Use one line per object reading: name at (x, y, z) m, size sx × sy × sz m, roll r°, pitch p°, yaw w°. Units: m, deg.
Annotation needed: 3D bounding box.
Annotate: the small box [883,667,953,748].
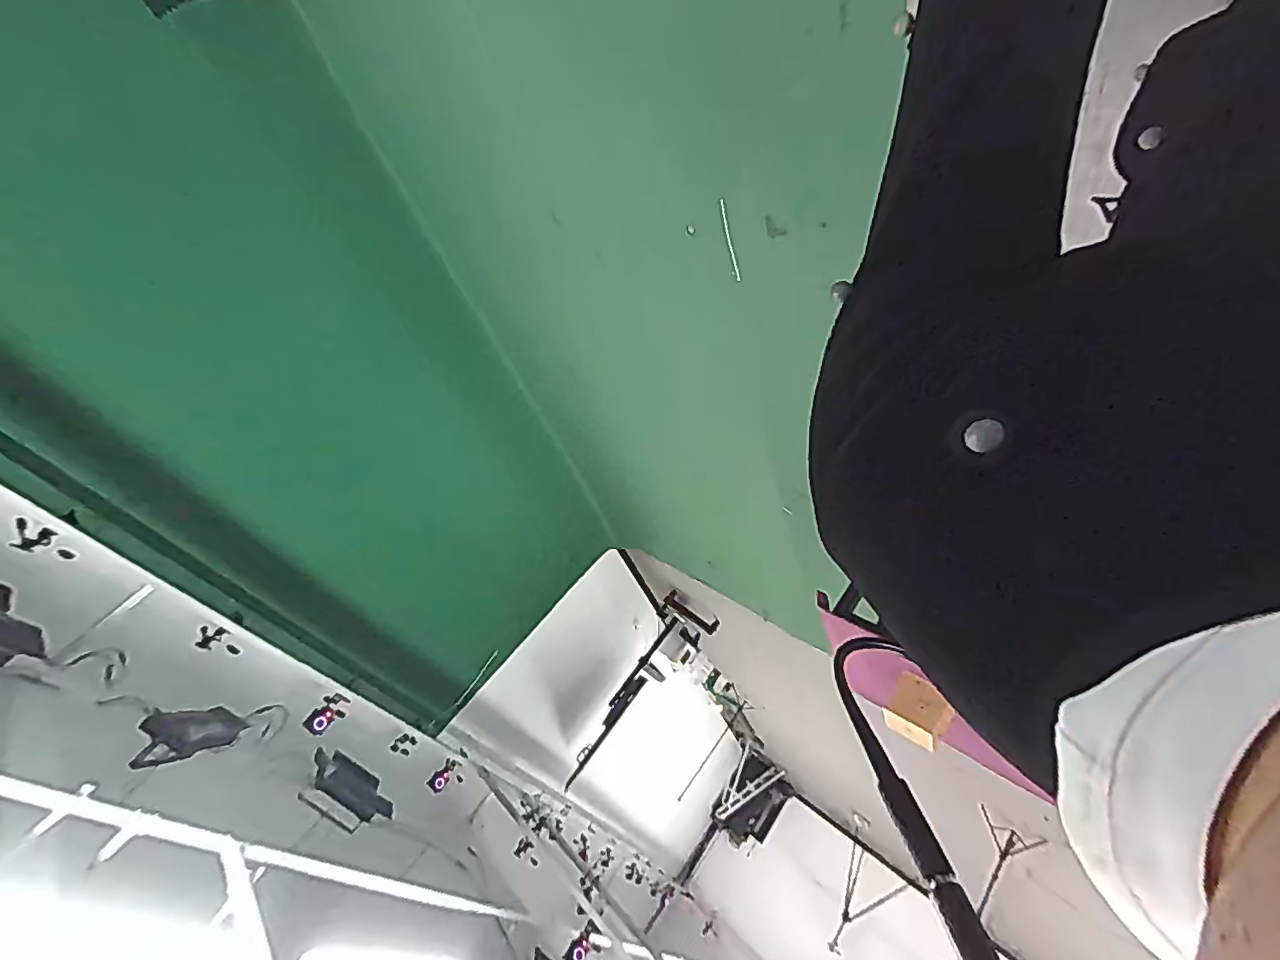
small box at (0.965, 0.784, 1.876) m, size 0.168 × 0.176 × 0.179 m, roll 21°, pitch 151°, yaw 43°
